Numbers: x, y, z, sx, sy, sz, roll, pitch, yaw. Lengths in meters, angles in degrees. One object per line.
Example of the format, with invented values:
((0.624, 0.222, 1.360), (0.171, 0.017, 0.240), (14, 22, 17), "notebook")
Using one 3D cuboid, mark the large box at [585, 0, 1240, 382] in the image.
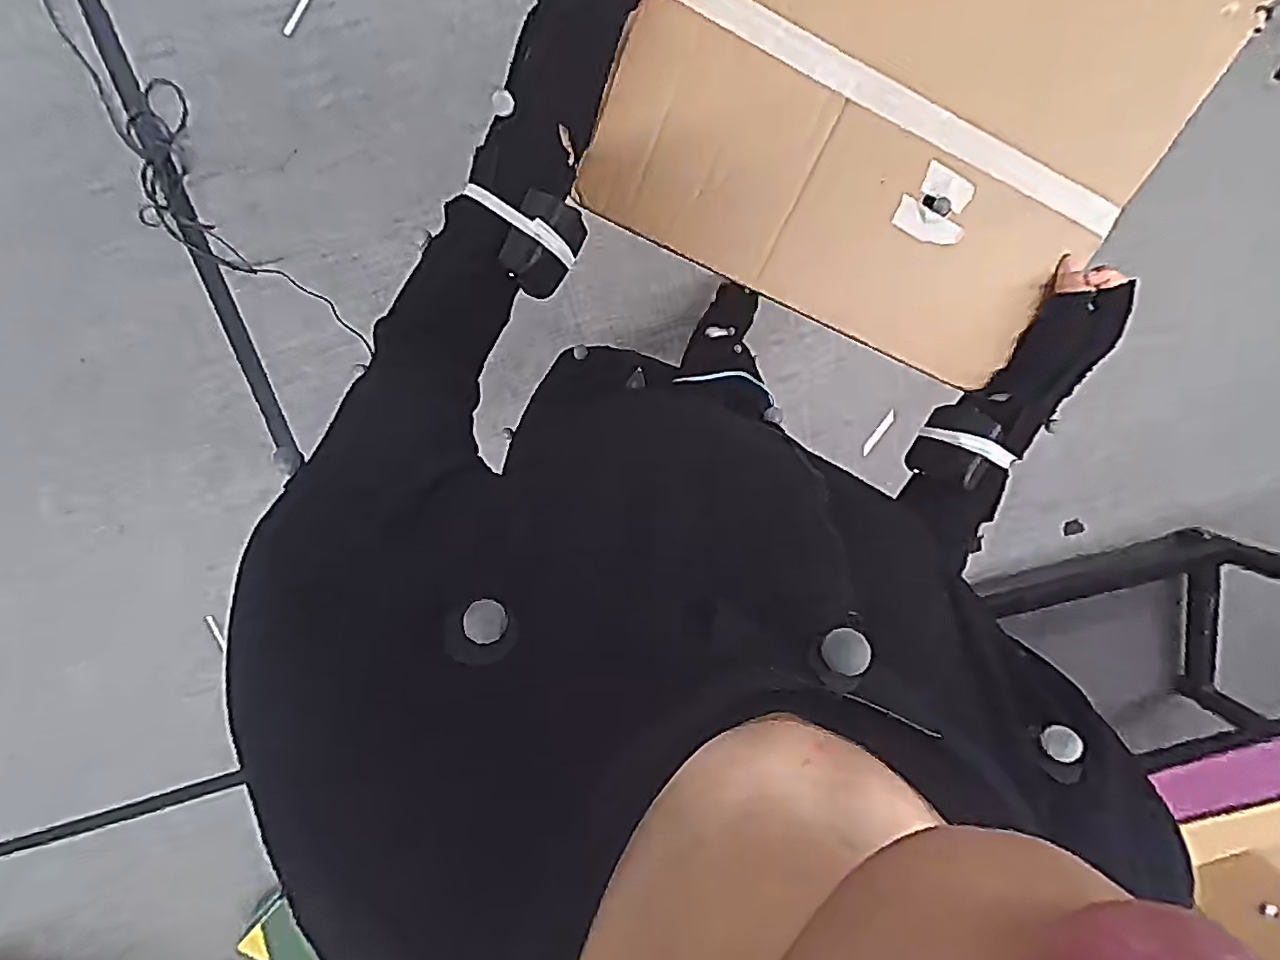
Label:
((0.192, -0.350, 0.548), (0.408, 0.320, 0.320), (22, 115, -10), "large box")
